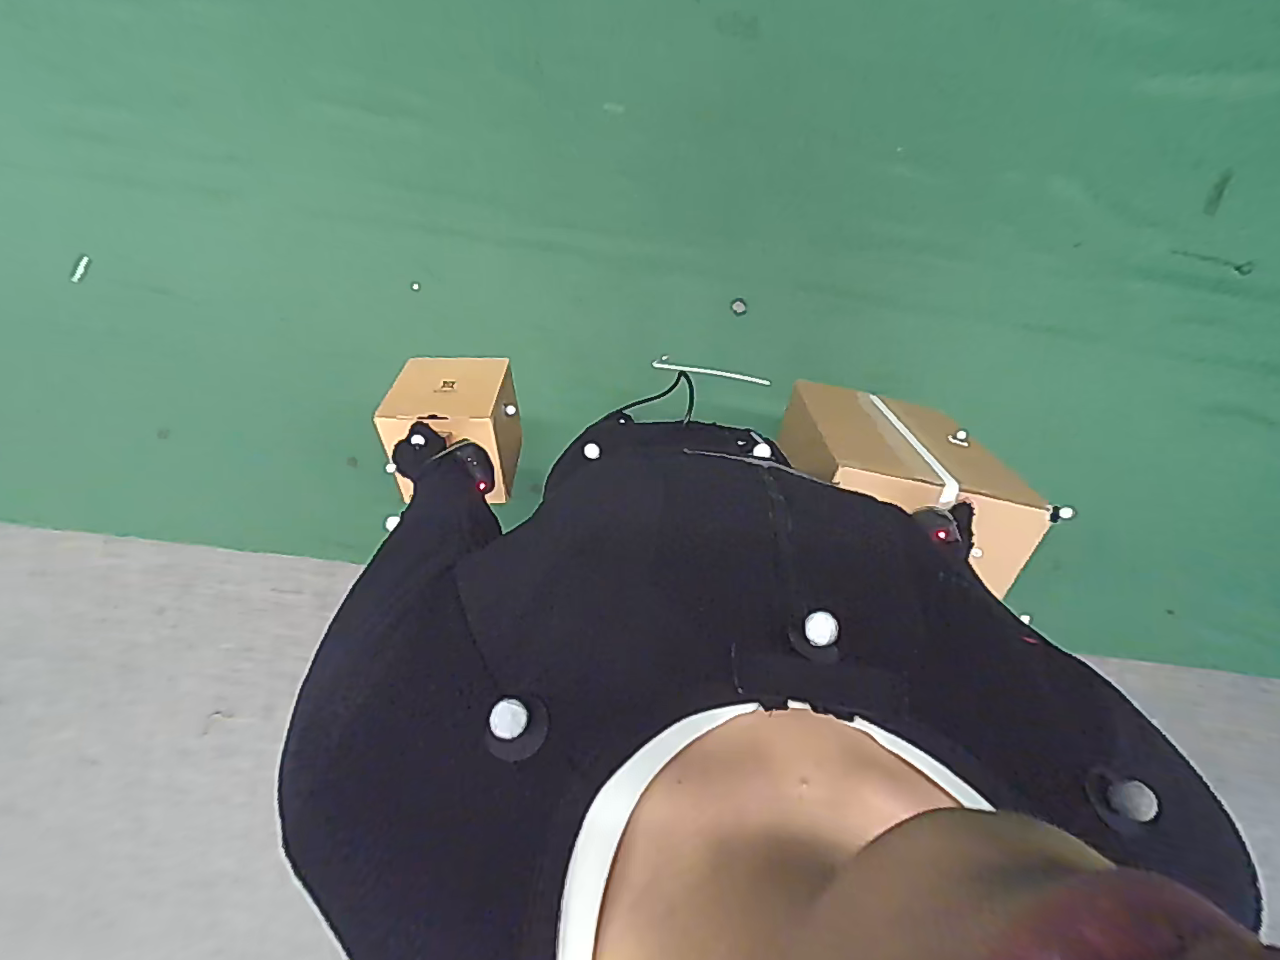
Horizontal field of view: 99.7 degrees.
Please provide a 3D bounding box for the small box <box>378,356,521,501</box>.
[{"bbox_3d":[-0.295,-0.085,0.884,0.168,0.179,0.176,0,132,-1],"label":"small box"}]
